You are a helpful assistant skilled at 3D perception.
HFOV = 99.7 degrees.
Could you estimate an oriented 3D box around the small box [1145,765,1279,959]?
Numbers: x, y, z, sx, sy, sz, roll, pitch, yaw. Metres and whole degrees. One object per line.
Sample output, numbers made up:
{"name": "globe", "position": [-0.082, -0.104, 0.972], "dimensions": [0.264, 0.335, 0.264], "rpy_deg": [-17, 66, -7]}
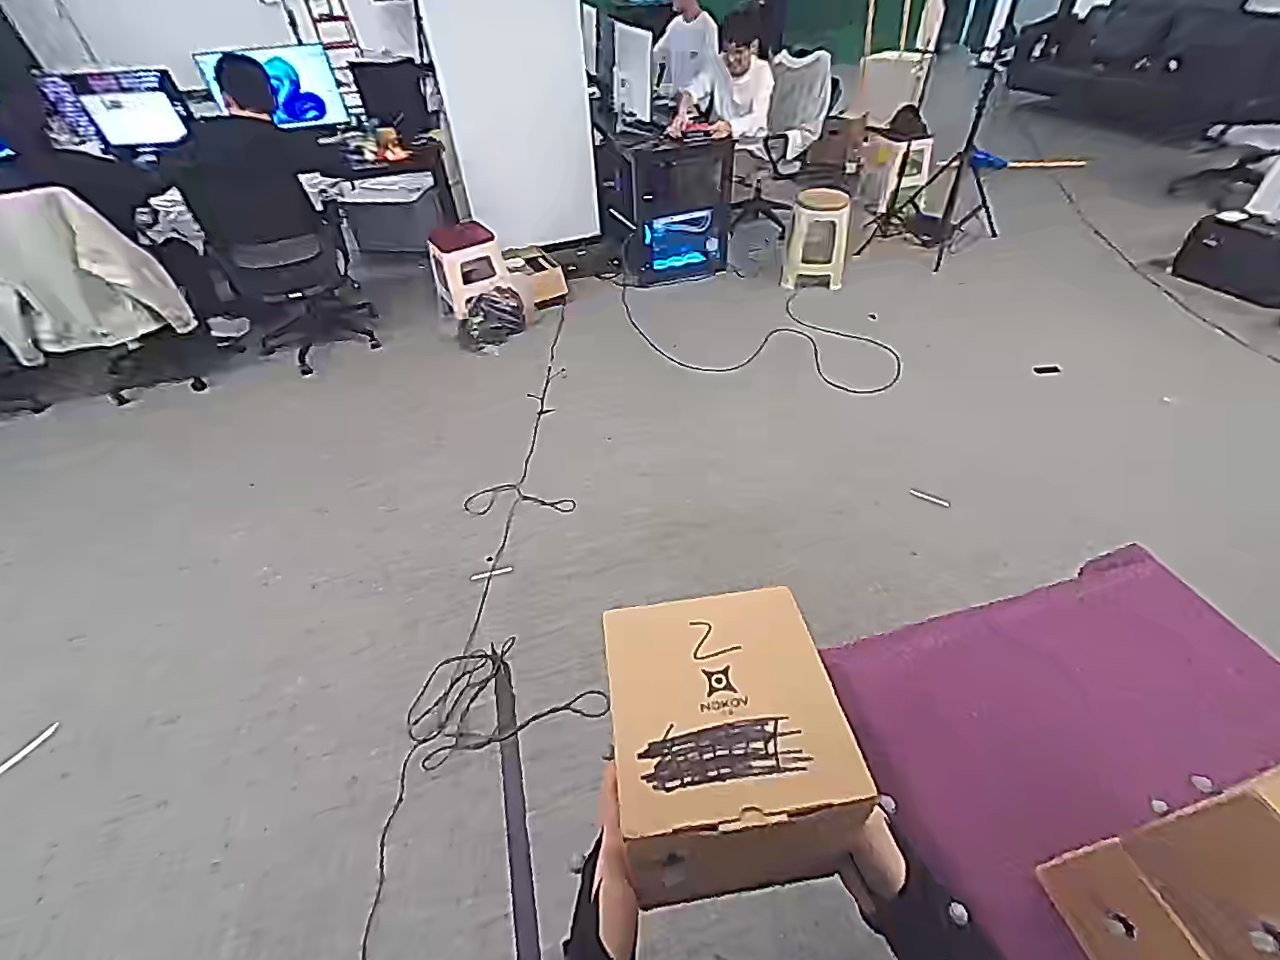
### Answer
{"name": "small box", "position": [0.558, 0.317, 0.417], "dimensions": [0.179, 0.176, 0.168], "rpy_deg": [-14, 46, -11]}

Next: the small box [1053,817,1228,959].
{"name": "small box", "position": [0.557, 0.435, 0.530], "dimensions": [0.179, 0.176, 0.168], "rpy_deg": [-11, 46, -9]}
